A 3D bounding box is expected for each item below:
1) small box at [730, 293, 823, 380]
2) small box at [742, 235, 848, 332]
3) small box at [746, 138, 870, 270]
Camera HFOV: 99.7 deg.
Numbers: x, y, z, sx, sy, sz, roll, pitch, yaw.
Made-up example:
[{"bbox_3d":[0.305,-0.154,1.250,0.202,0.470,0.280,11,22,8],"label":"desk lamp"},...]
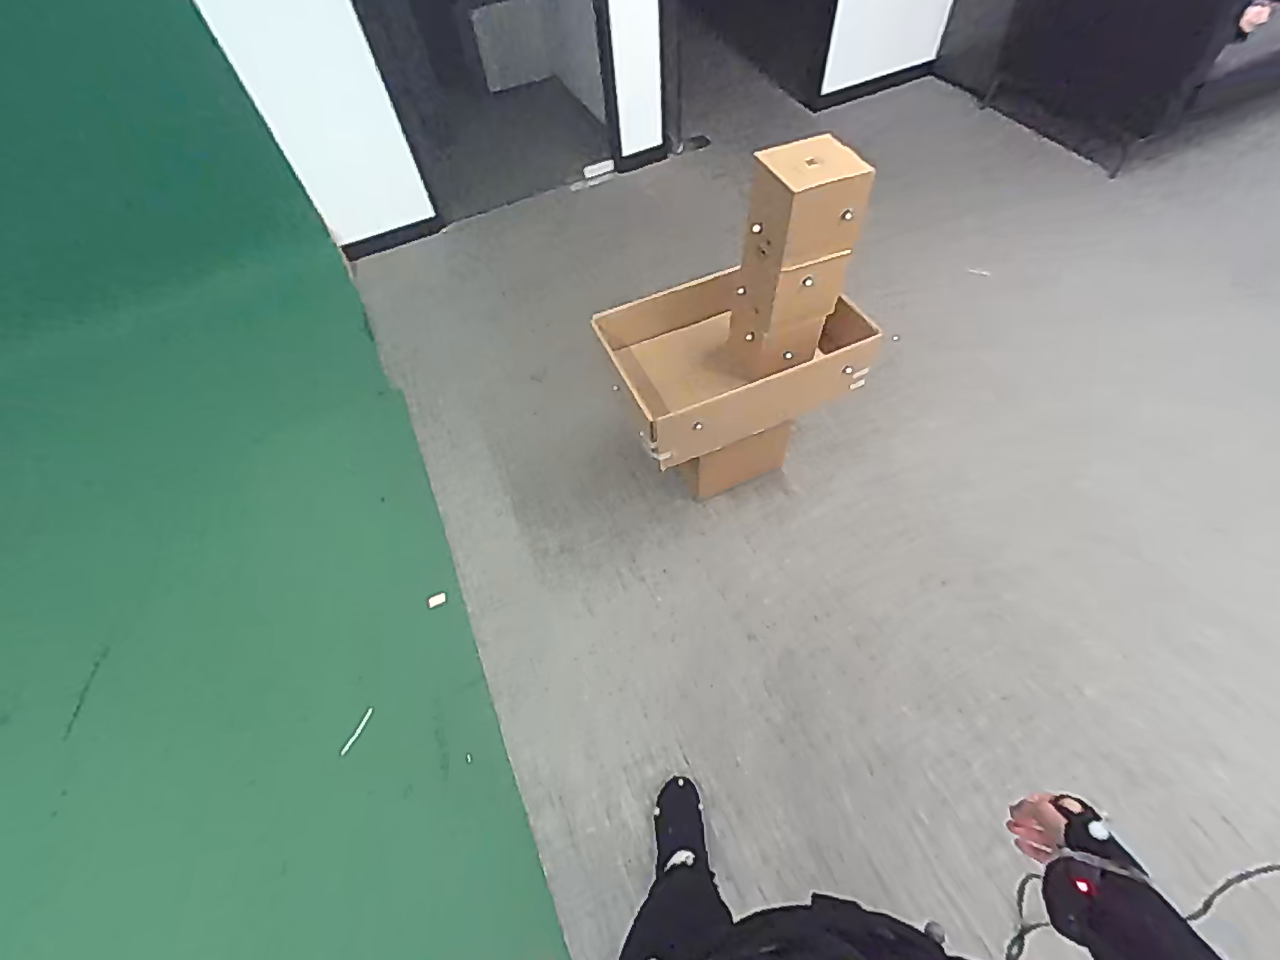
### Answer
[{"bbox_3d":[0.343,-0.378,1.391,0.168,0.176,0.179,-18,57,-8],"label":"small box"},{"bbox_3d":[0.347,-0.472,1.255,0.179,0.176,0.168,-19,57,-9],"label":"small box"},{"bbox_3d":[0.338,-0.571,1.126,0.179,0.176,0.168,-20,57,-8],"label":"small box"}]
